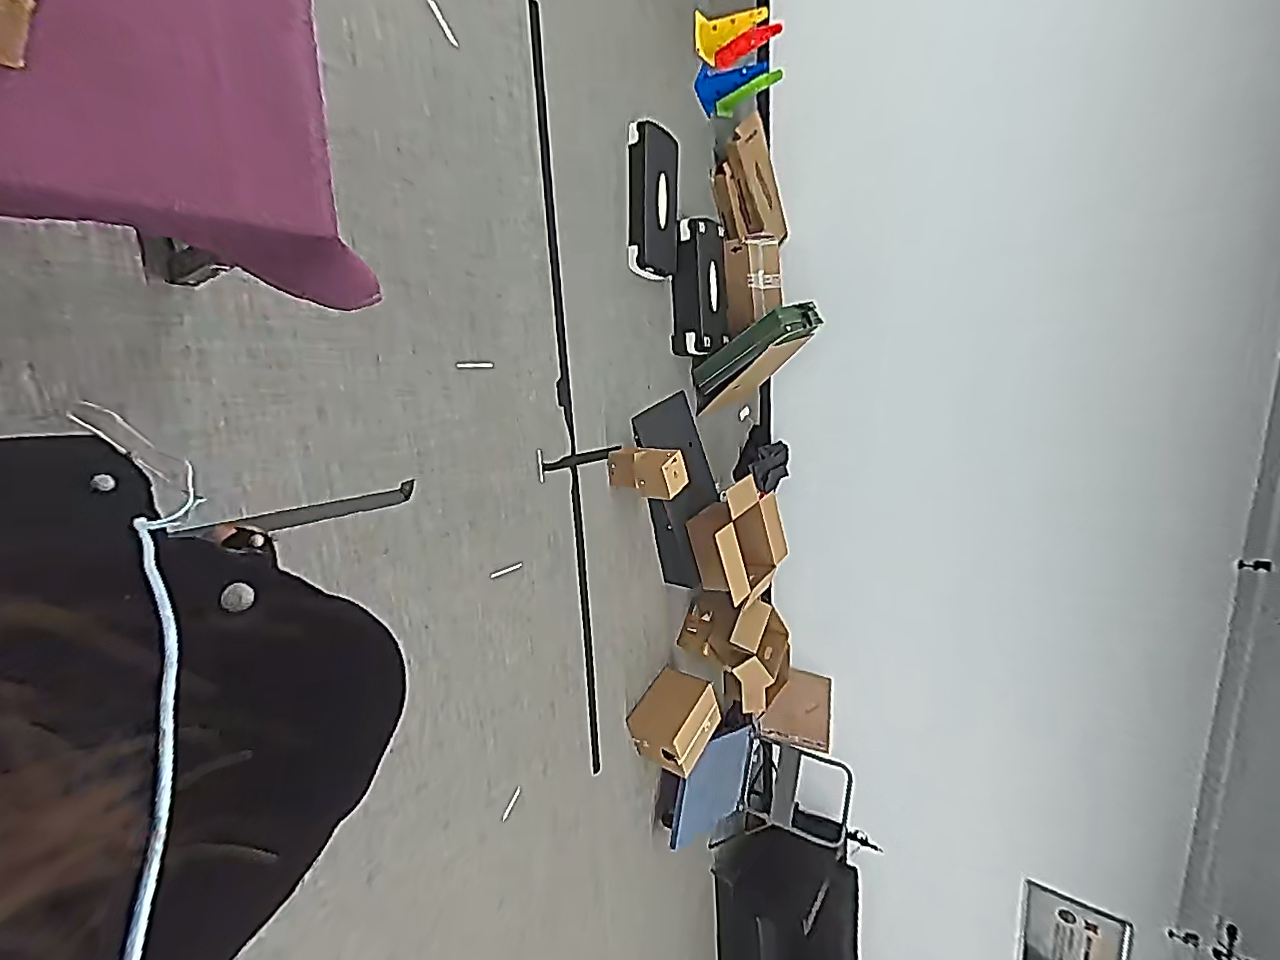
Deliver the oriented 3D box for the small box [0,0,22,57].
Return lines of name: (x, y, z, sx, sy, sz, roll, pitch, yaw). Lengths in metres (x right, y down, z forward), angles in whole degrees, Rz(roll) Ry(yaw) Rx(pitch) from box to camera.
small box: (-0.682, -0.516, 0.469, 0.179, 0.176, 0.168, -15, 106, -52)
